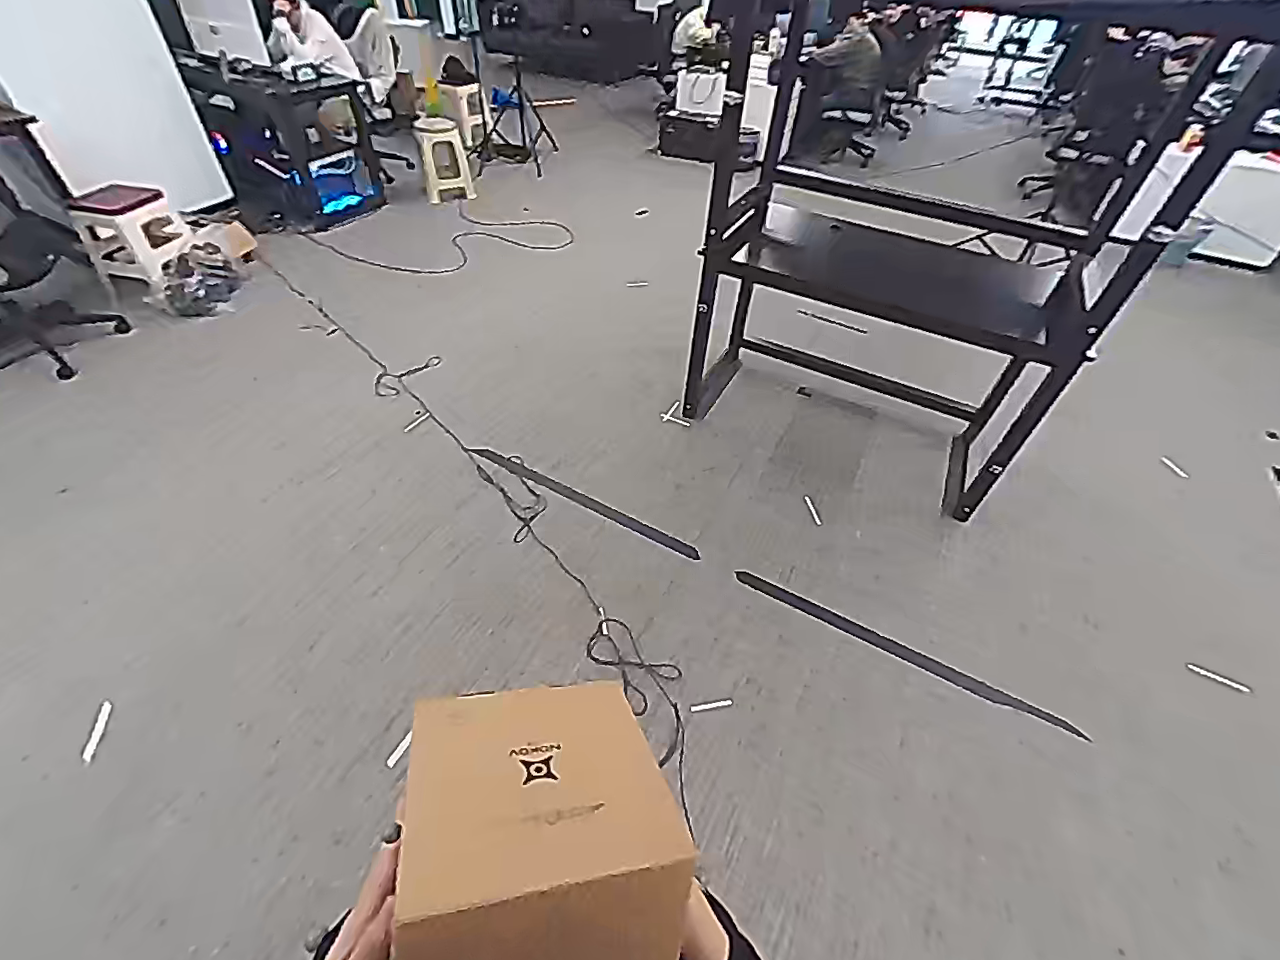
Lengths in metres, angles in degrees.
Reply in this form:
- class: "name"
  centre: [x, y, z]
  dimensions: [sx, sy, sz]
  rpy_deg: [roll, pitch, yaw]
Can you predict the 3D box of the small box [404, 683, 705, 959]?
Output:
- class: "small box"
  centre: [-0.073, 0.273, 0.383]
  dimensions: [0.168, 0.176, 0.179]
  rpy_deg: [2, 14, -20]
